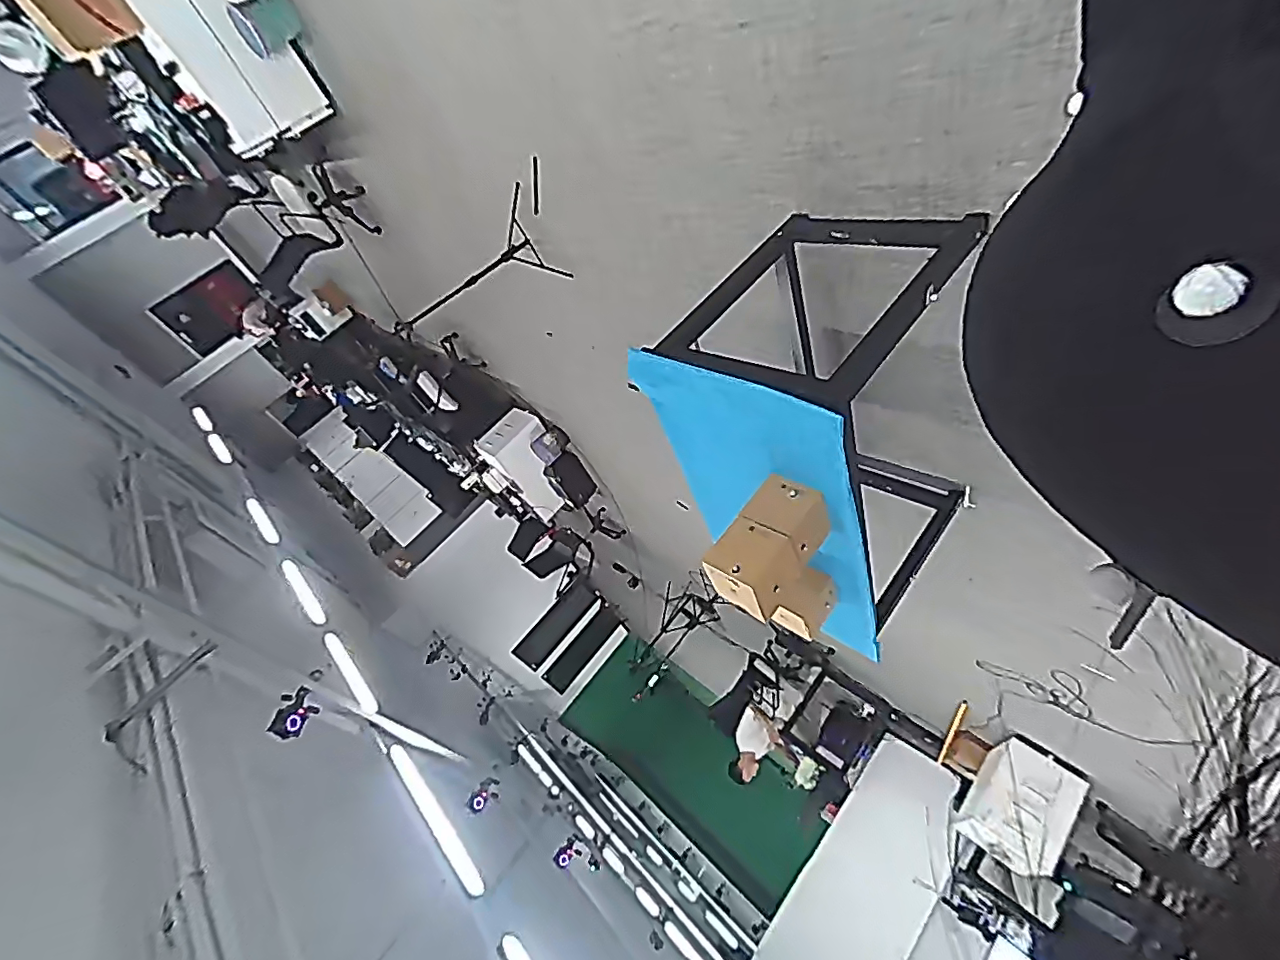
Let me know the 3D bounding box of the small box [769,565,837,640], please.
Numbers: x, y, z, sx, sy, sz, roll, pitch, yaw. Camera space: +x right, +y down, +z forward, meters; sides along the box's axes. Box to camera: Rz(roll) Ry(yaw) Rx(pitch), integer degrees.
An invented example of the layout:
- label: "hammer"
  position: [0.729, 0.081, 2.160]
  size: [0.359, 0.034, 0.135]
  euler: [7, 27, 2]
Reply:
- label: "small box"
  position: [0.538, 0.397, 1.817]
  size: [0.179, 0.176, 0.168]
  euler: [25, 155, 39]

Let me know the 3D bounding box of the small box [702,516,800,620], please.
- label: "small box"
  position: [0.299, 0.227, 1.427]
  size: [0.168, 0.176, 0.179]
  euler: [24, 152, 45]

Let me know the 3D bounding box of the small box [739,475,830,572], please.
- label: "small box"
  position: [0.404, 0.118, 1.489]
  size: [0.168, 0.176, 0.179]
  euler: [25, 155, 42]
